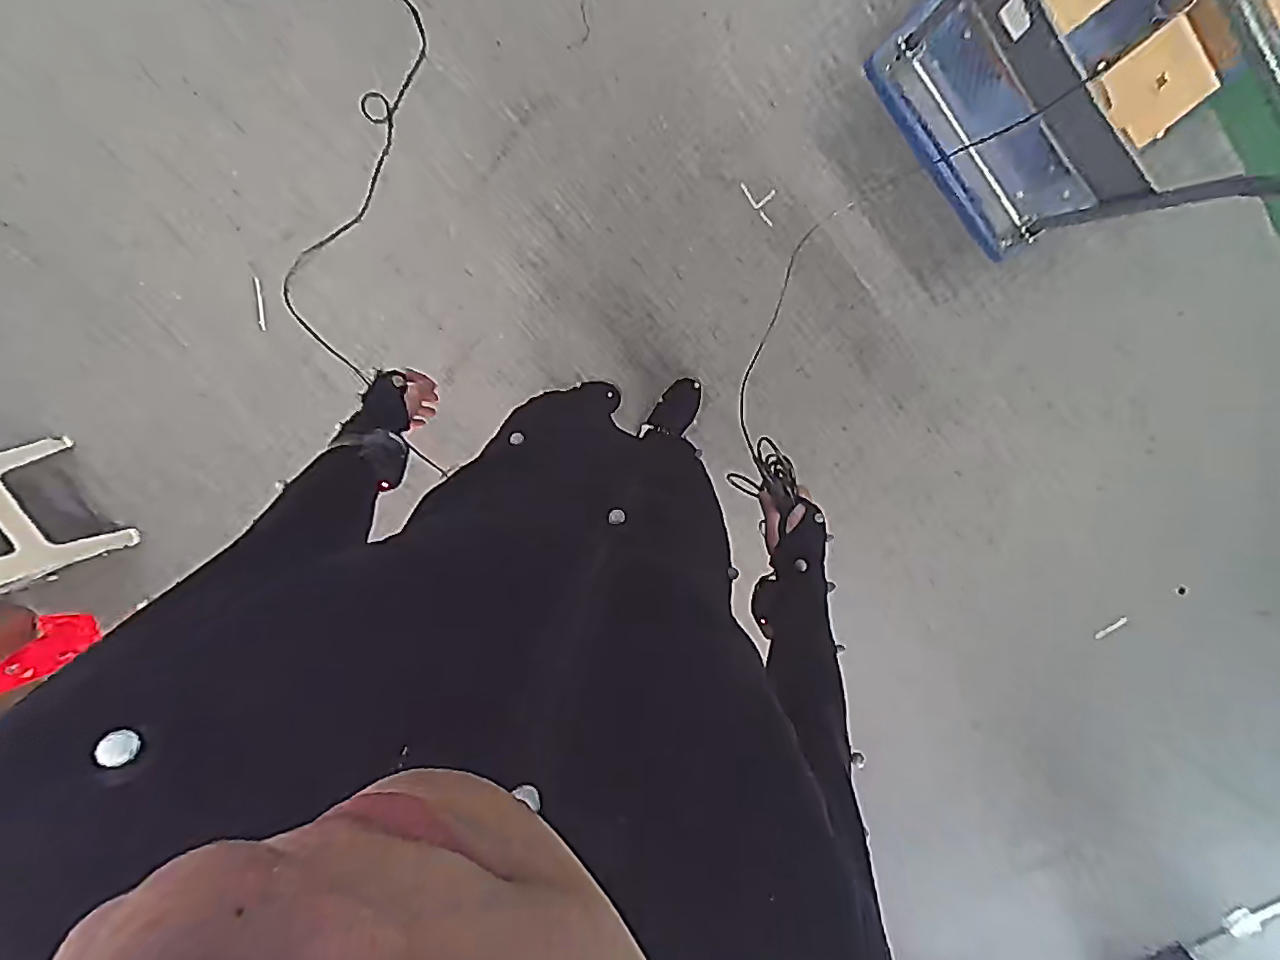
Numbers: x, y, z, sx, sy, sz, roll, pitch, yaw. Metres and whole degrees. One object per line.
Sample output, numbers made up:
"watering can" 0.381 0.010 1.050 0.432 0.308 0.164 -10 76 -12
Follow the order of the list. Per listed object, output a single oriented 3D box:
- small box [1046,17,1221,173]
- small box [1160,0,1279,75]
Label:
"small box" 1.007 -0.781 1.120 0.179 0.176 0.168 -39 101 12
"small box" 1.209 -0.951 1.065 0.168 0.176 0.179 44 103 -9
